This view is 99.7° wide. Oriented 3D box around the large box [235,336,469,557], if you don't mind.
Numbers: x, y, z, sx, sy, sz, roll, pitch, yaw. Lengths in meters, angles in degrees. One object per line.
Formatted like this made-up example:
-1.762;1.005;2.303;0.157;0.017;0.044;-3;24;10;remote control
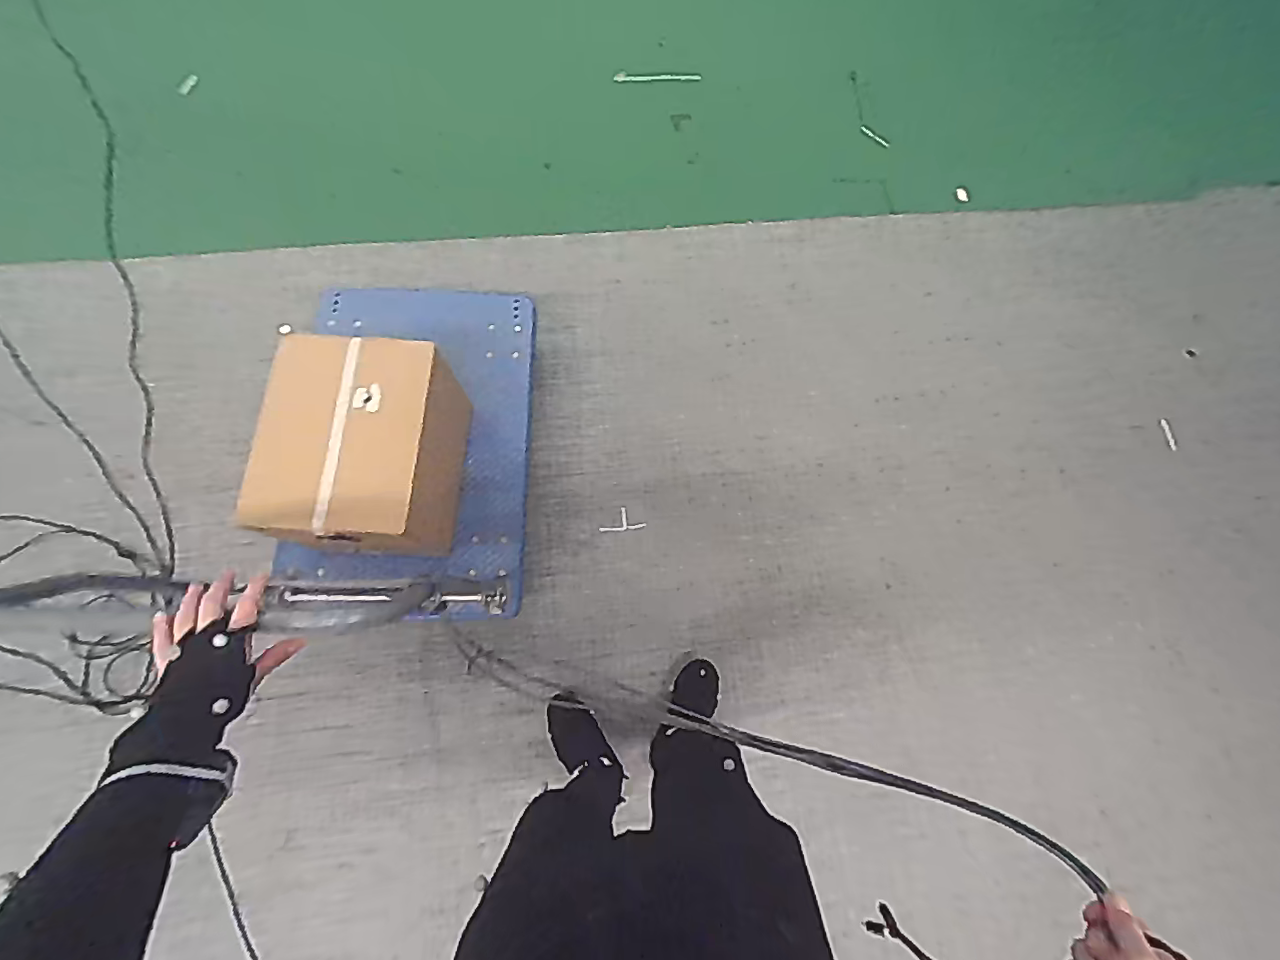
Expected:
-0.587;-0.052;1.182;0.320;0.320;0.408;4;74;-3;large box
